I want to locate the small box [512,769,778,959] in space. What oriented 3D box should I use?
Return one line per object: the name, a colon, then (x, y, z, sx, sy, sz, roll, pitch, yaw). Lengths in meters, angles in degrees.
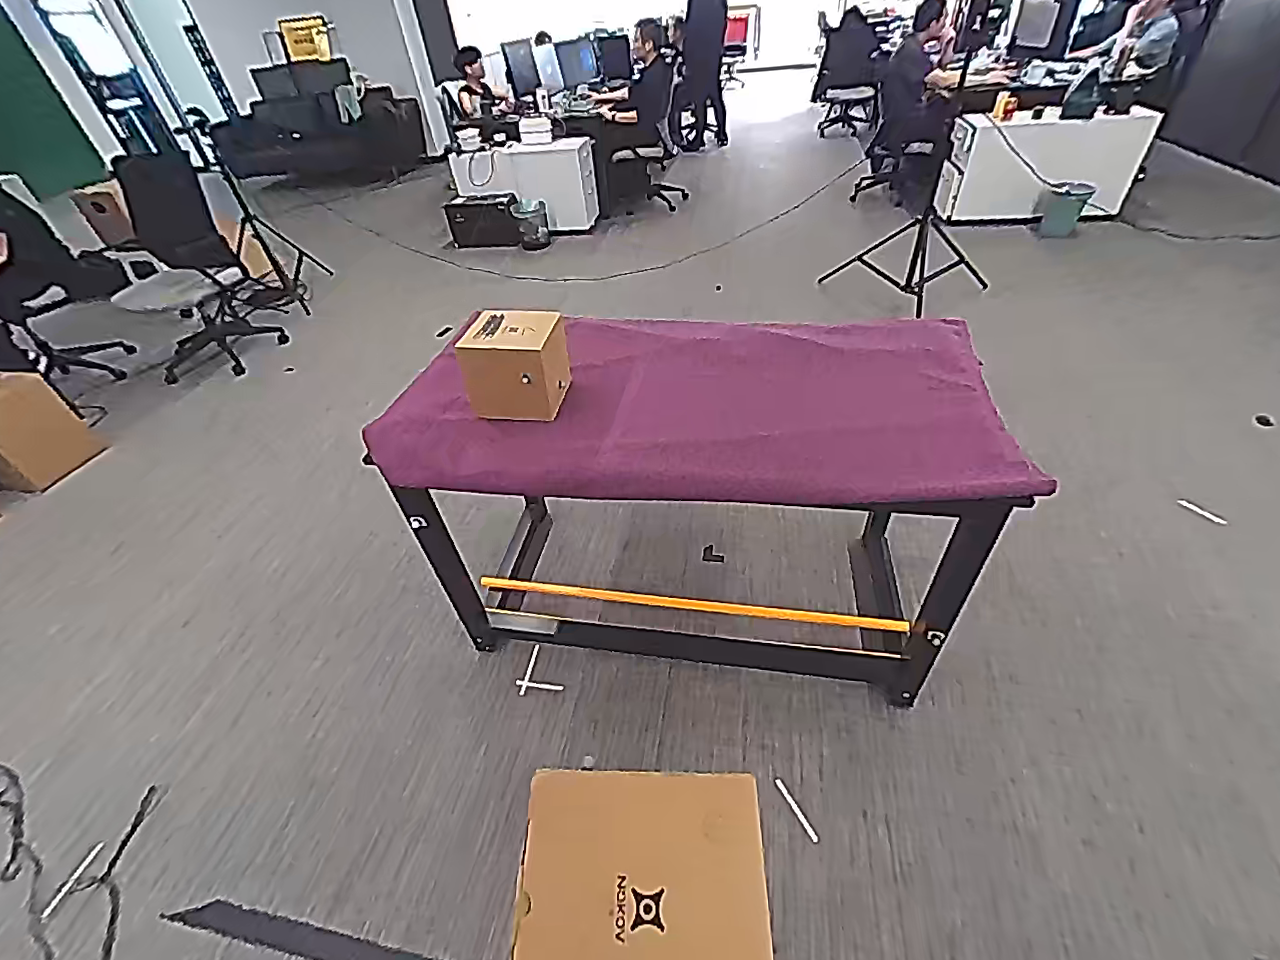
small box: (0.007, 0.335, 0.433, 0.179, 0.176, 0.168, -2, 54, 4)
